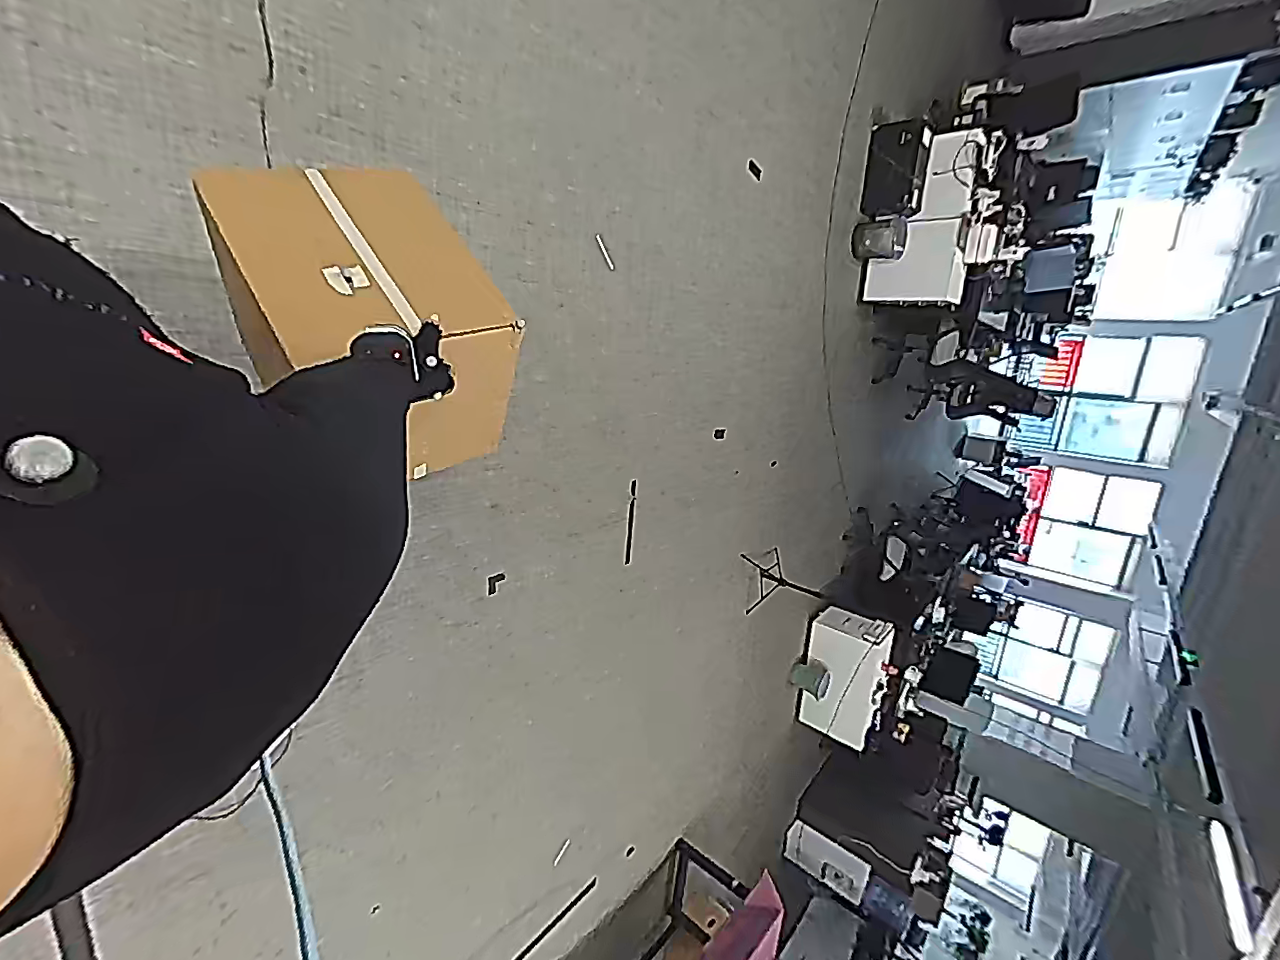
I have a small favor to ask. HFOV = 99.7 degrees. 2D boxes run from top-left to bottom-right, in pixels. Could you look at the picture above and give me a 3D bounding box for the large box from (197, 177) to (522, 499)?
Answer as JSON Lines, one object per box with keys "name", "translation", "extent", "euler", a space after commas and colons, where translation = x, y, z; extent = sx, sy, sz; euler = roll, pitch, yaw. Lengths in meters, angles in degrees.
{"name": "large box", "translation": [-0.462, -0.245, 0.915], "extent": [0.320, 0.408, 0.320], "euler": [-25, 159, -35]}
